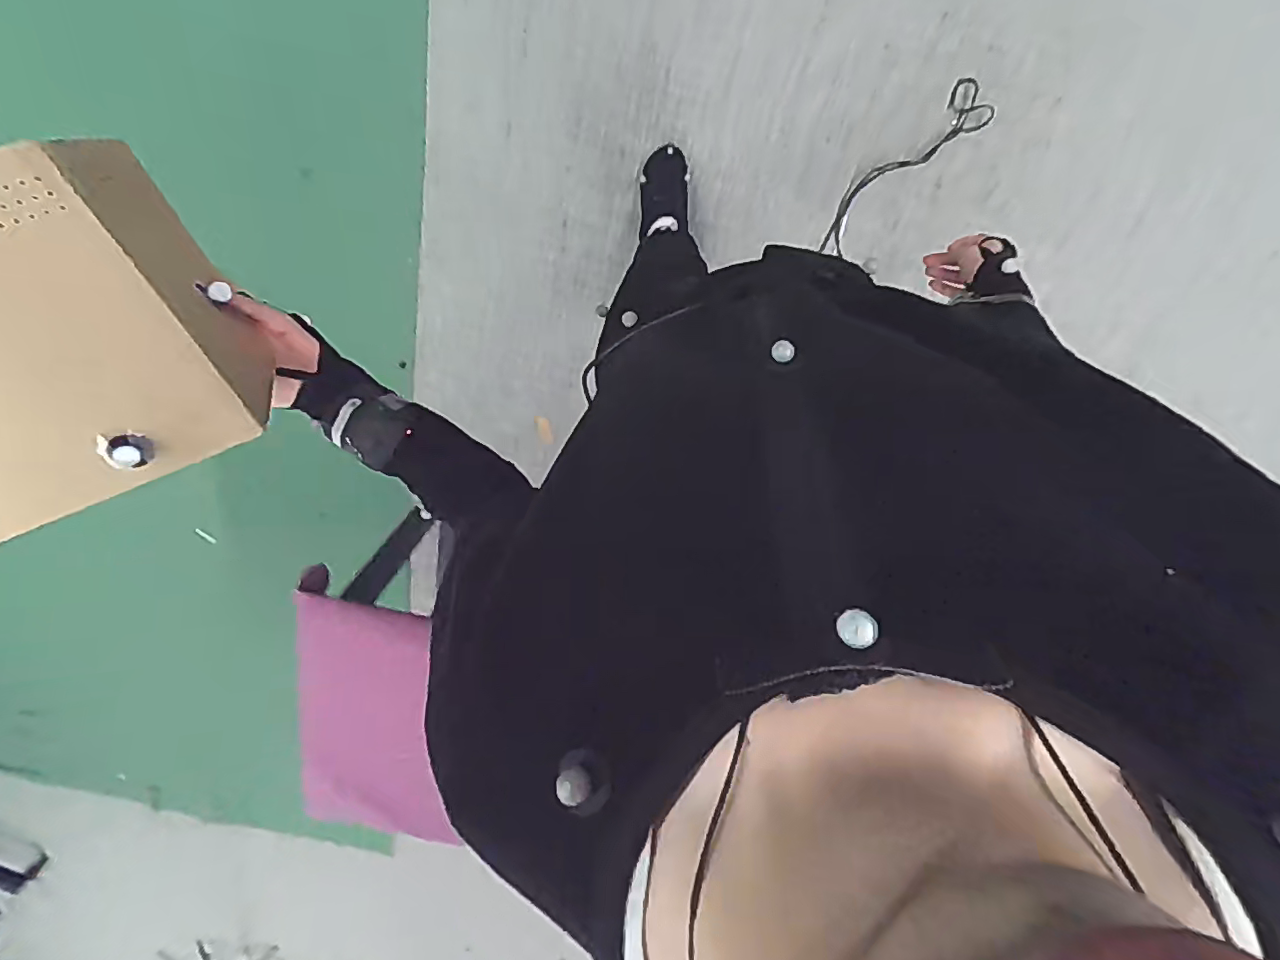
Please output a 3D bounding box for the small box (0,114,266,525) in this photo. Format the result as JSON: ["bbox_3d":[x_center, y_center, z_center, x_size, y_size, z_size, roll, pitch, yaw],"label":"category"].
[{"bbox_3d":[-0.362,-0.104,0.324,0.168,0.179,0.176,-28,131,-15],"label":"small box"}]
